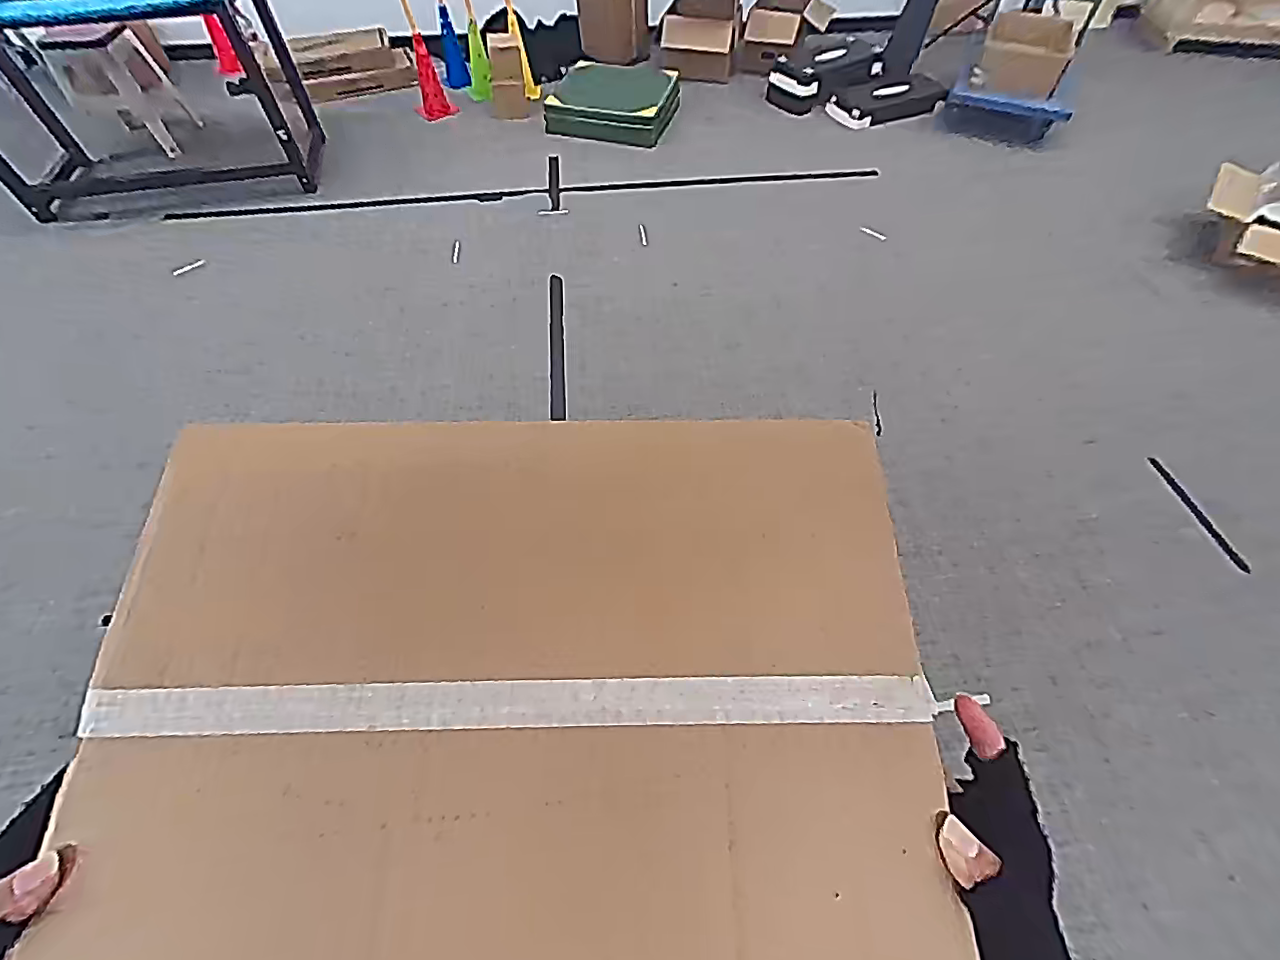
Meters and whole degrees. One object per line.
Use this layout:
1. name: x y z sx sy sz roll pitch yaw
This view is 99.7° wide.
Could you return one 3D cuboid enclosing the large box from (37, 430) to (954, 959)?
1. large box: -0.065 0.171 0.413 0.408 0.320 0.320 0 68 -1
